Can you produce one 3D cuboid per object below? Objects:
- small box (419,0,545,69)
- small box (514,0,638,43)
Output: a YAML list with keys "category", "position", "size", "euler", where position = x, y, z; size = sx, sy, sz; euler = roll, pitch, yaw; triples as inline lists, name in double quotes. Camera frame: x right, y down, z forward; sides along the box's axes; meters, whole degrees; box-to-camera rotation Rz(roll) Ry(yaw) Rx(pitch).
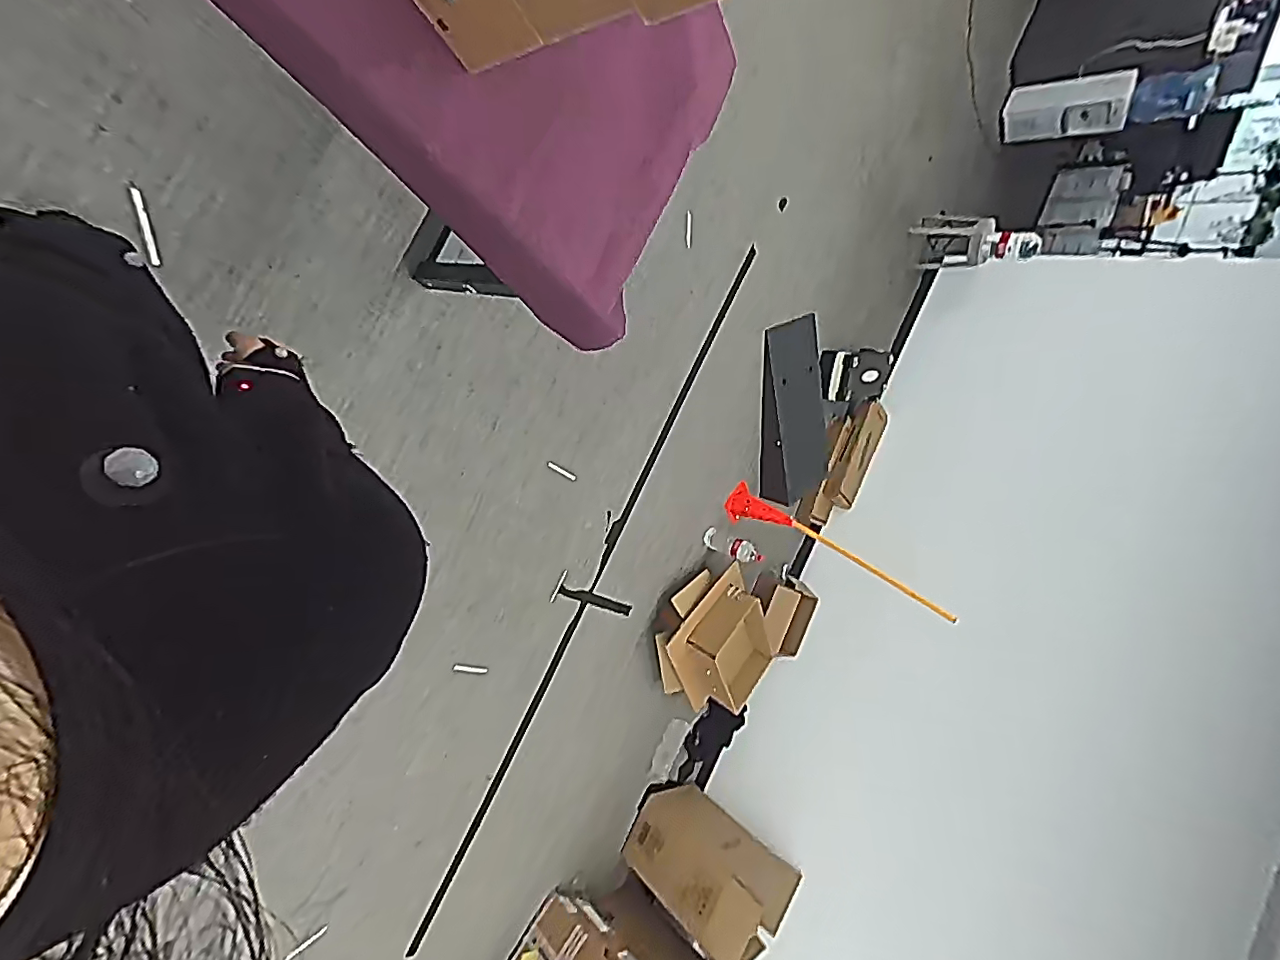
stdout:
- category: "small box"
  position: [-0.174, -0.632, 0.634]
  size: [0.168, 0.176, 0.179]
  euler: [39, 76, -50]
- category: "small box"
  position: [-0.053, -0.589, 0.533]
  size: [0.168, 0.176, 0.179]
  euler: [38, 78, -49]
